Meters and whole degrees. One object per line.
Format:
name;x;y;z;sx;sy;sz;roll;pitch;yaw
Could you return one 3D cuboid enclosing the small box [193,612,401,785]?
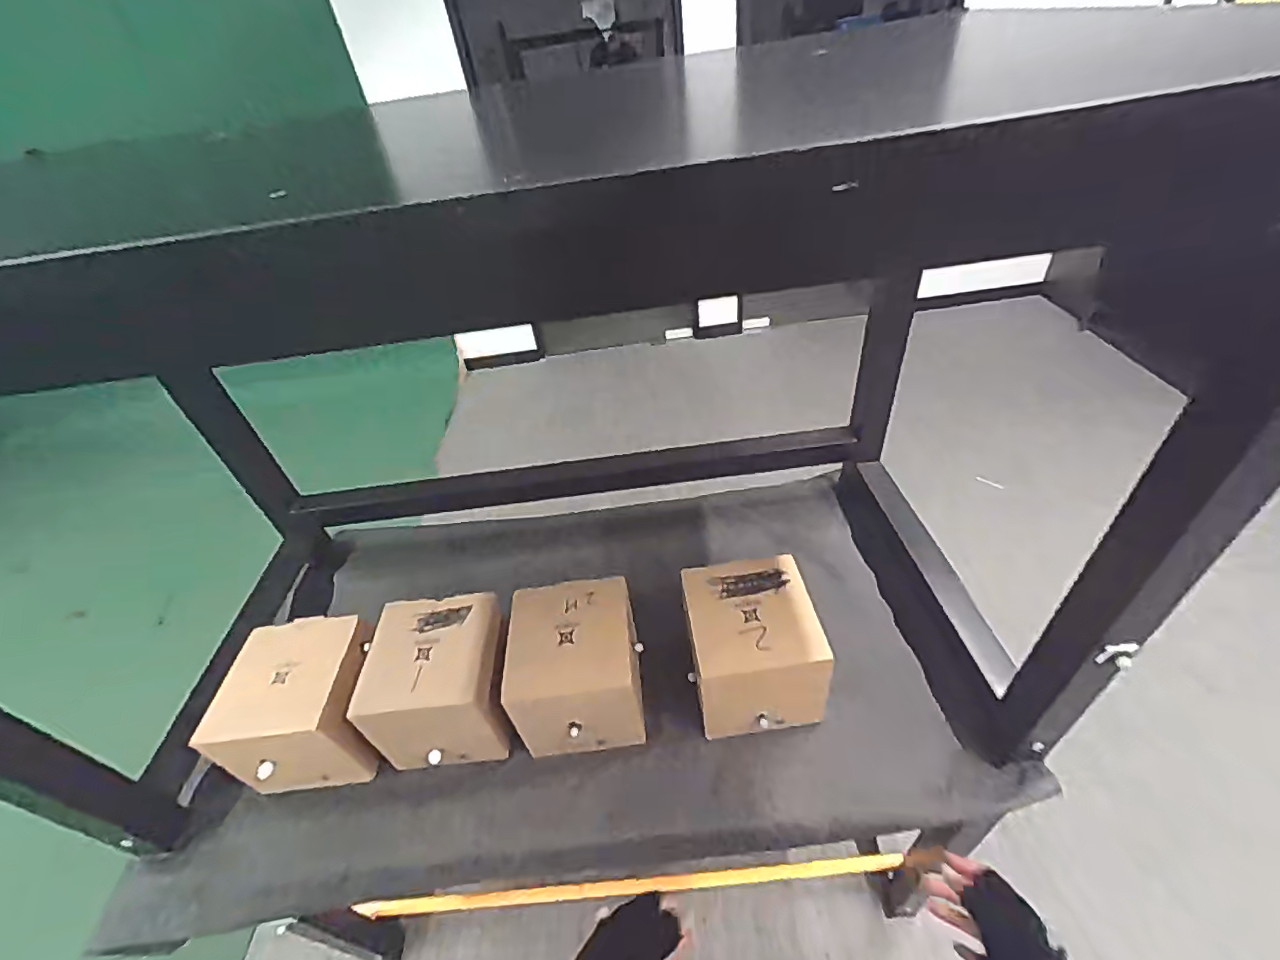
small box;-0.475;0.322;0.786;0.168;0.176;0.179;-7;39;1
